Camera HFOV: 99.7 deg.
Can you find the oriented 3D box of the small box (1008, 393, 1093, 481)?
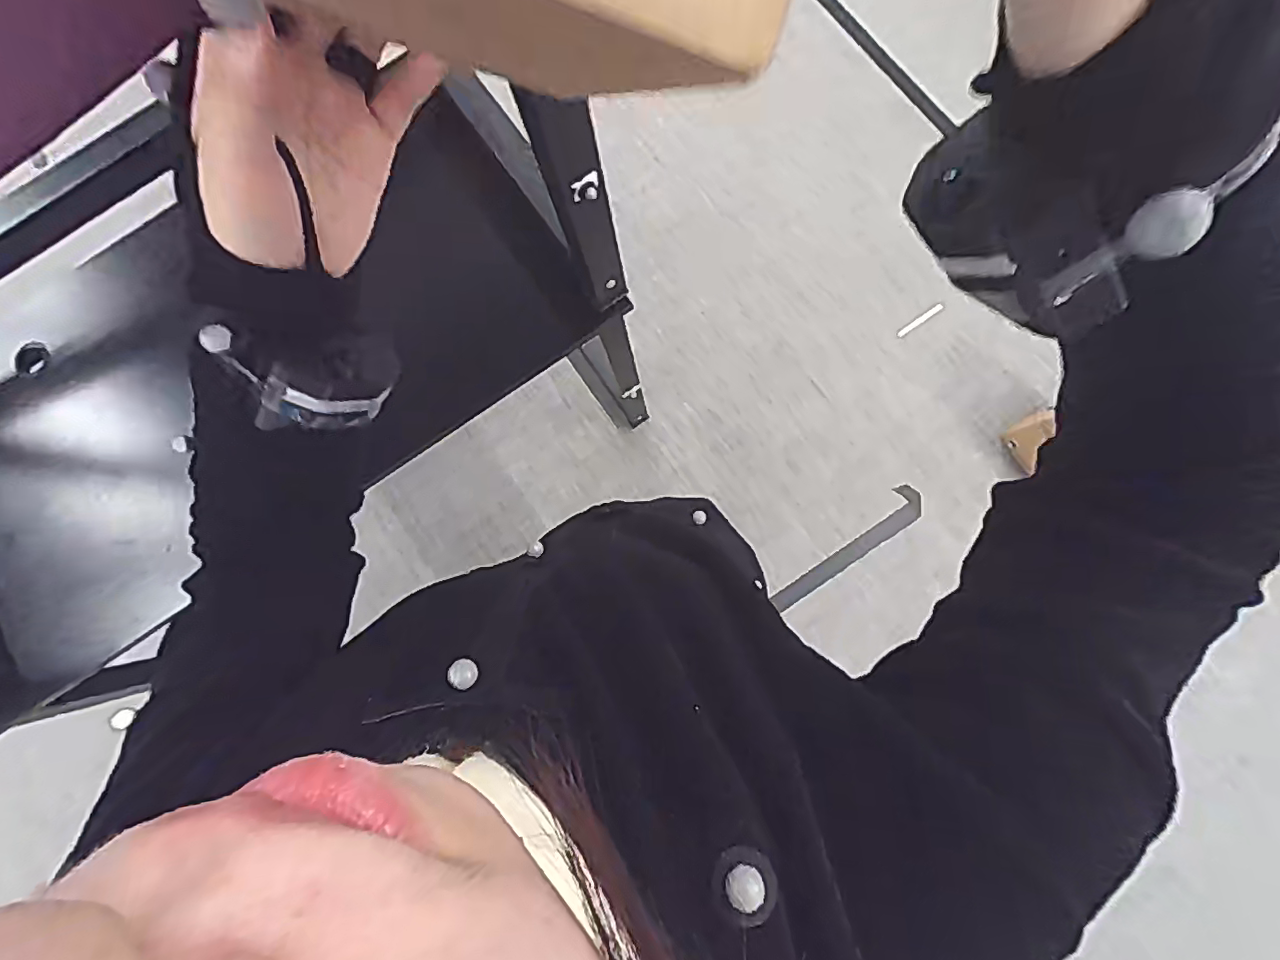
[{"bbox_3d":[1.089,-0.113,1.381,0.179,0.176,0.168,-33,82,-2],"label":"small box"}]

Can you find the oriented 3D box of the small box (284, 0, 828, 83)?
[{"bbox_3d":[-0.056,-0.191,0.093,0.179,0.176,0.168,1,121,-26],"label":"small box"}]
